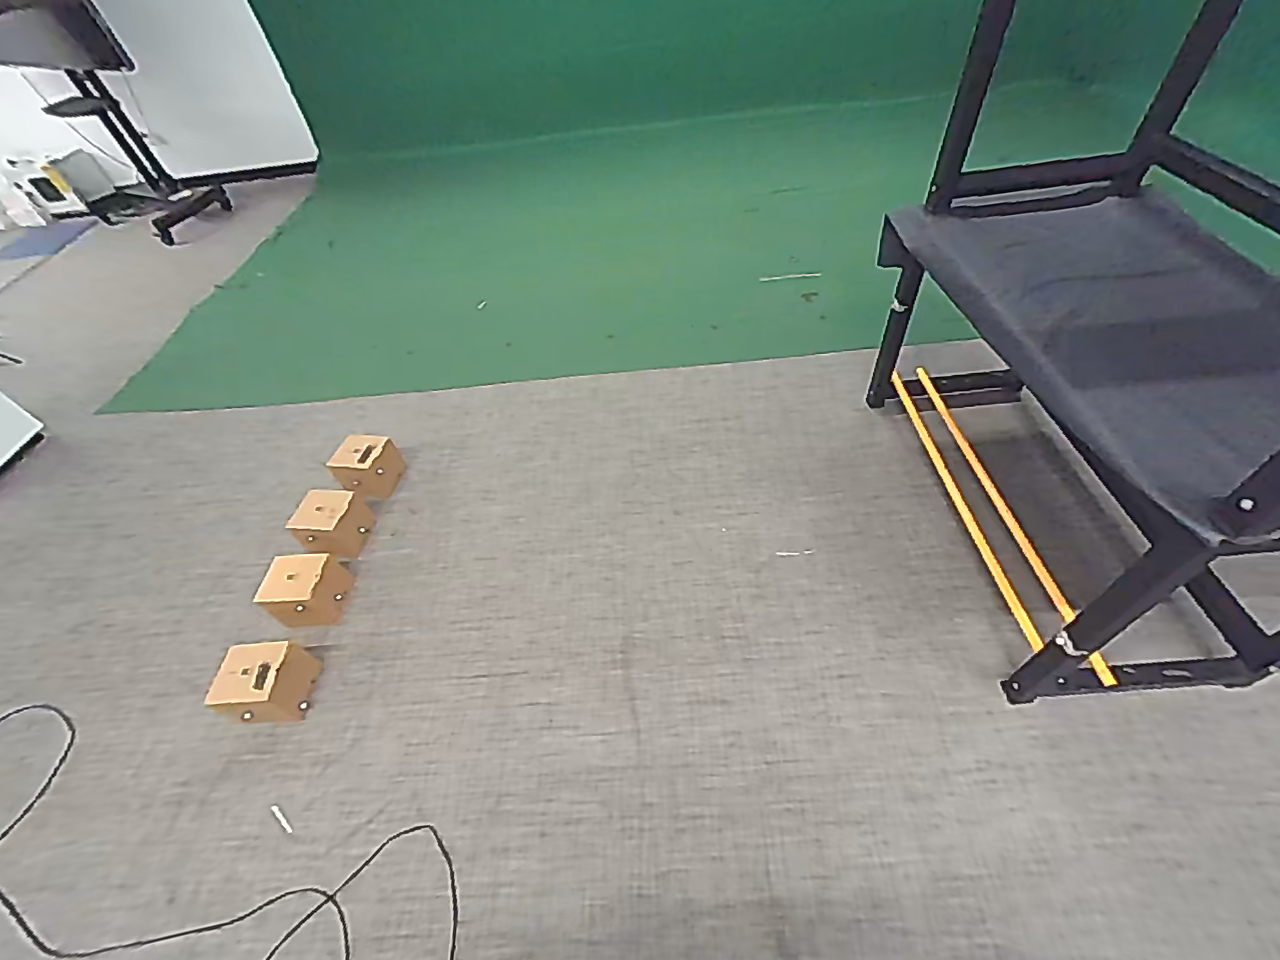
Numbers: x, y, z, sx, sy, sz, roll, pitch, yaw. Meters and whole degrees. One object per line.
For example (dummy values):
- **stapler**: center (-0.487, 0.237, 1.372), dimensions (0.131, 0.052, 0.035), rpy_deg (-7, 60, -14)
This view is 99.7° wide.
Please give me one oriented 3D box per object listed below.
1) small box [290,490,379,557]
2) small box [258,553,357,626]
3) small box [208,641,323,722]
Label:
- **small box**: center (-1.047, 0.153, 1.869), dimensions (0.179, 0.176, 0.168), rpy_deg (2, 50, 8)
- **small box**: center (-1.036, 0.347, 1.700), dimensions (0.179, 0.176, 0.168), rpy_deg (-4, 49, 3)
- **small box**: center (-1.029, 0.563, 1.506), dimensions (0.179, 0.176, 0.168), rpy_deg (-5, 48, 4)
